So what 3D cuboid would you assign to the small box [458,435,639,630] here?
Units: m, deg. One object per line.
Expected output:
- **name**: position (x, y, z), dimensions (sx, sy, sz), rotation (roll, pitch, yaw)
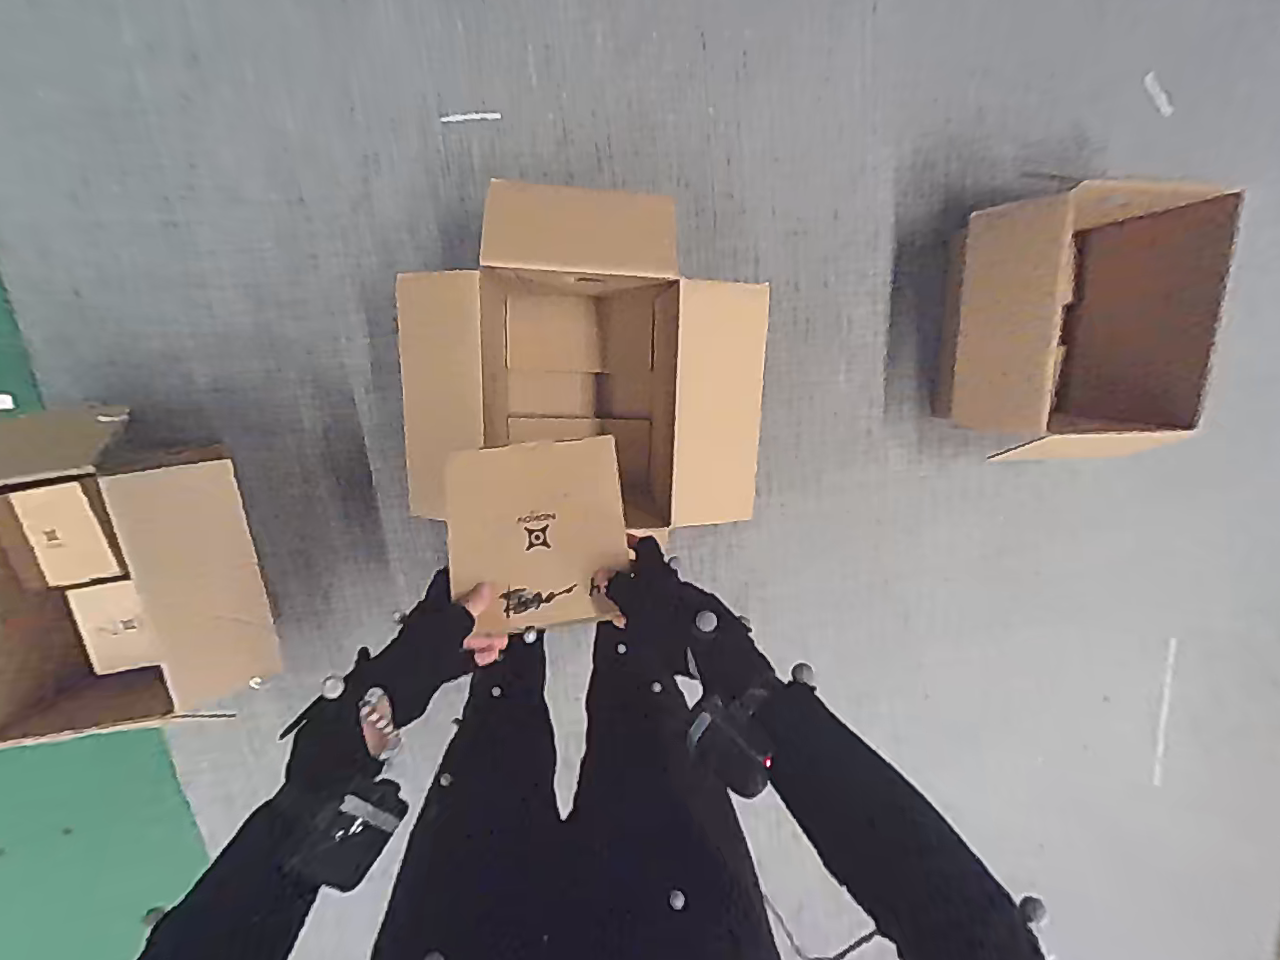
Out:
- **small box**: position (-0.098, 0.065, 0.590), dimensions (0.168, 0.176, 0.179), rotation (-5, 74, -7)
